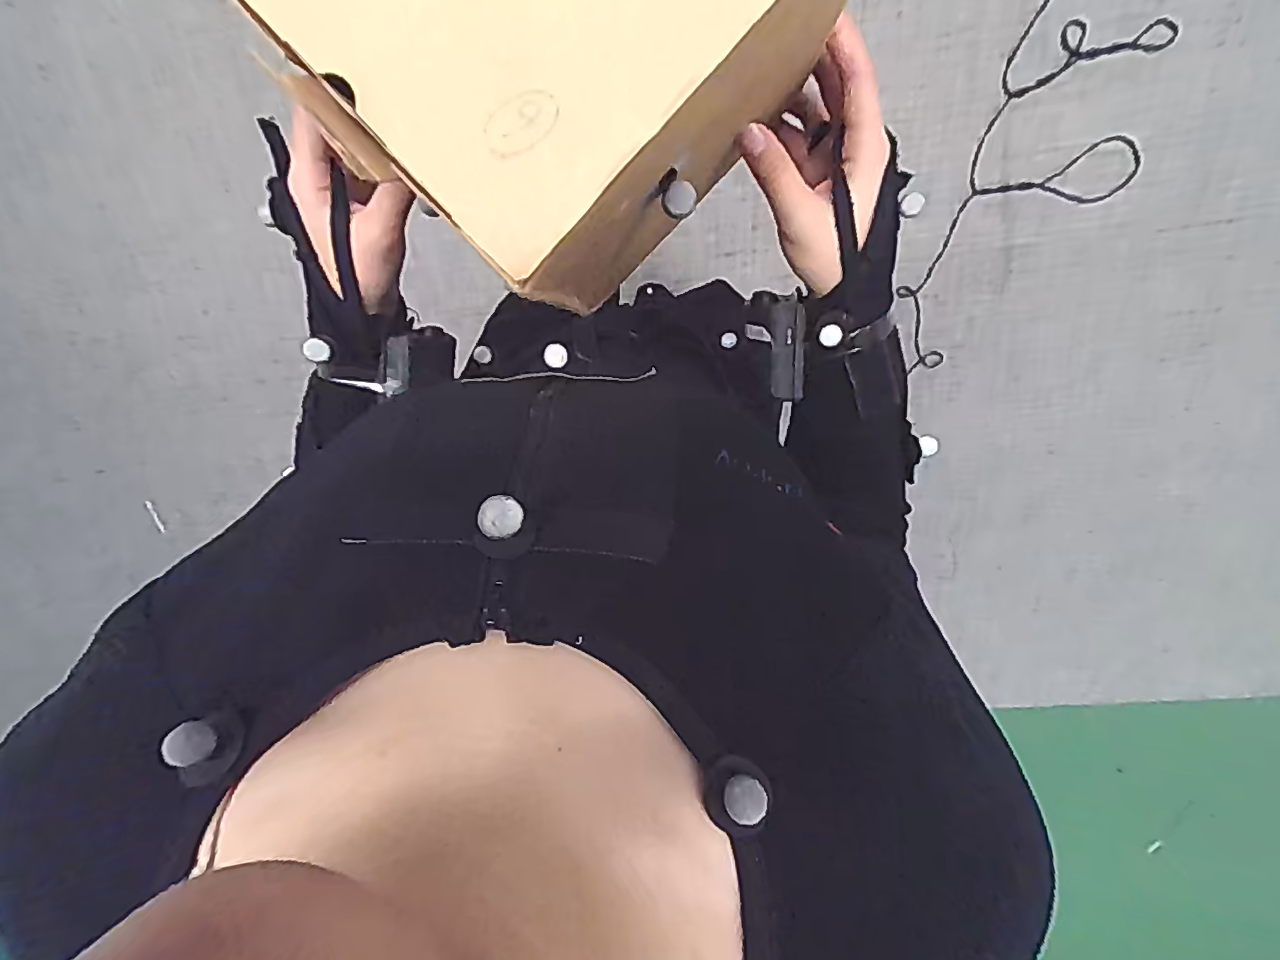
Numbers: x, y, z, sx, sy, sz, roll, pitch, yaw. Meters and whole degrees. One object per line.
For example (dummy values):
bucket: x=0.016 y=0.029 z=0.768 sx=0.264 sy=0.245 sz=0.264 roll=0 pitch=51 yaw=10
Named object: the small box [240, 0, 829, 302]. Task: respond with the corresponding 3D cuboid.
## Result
small box: x=-0.030 y=-0.203 z=0.250 sx=0.179 sy=0.176 sz=0.168 roll=-43 pitch=98 yaw=12
